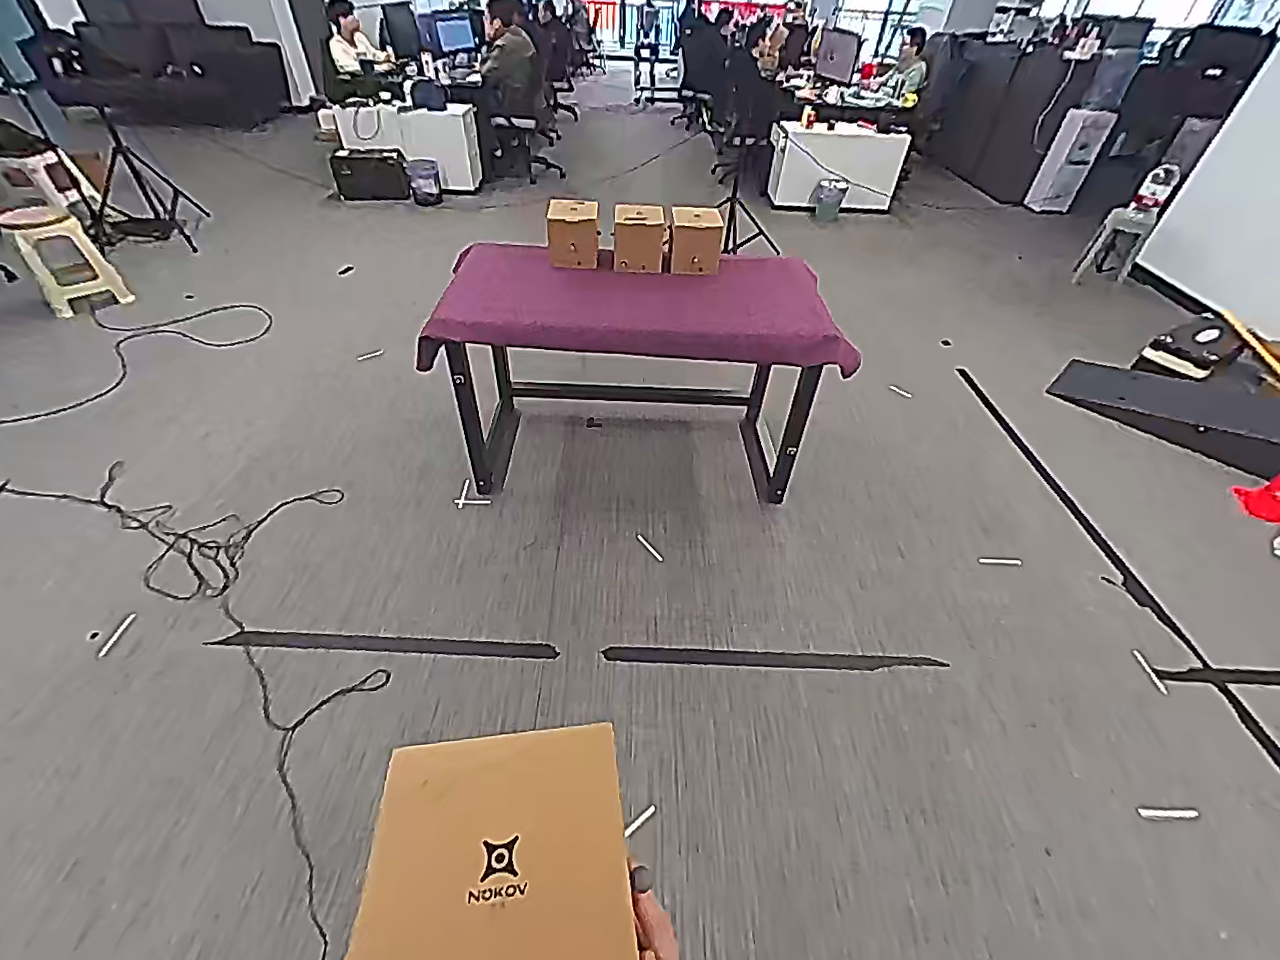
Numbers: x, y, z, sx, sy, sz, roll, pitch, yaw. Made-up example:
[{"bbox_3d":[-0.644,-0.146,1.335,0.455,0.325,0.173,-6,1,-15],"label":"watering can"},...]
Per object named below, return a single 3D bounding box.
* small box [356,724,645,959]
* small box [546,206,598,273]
[{"bbox_3d":[-0.090,0.312,0.395,0.168,0.176,0.179,-4,37,-8],"label":"small box"},{"bbox_3d":[-0.233,-0.840,1.891,0.168,0.176,0.179,1,46,-3],"label":"small box"}]
